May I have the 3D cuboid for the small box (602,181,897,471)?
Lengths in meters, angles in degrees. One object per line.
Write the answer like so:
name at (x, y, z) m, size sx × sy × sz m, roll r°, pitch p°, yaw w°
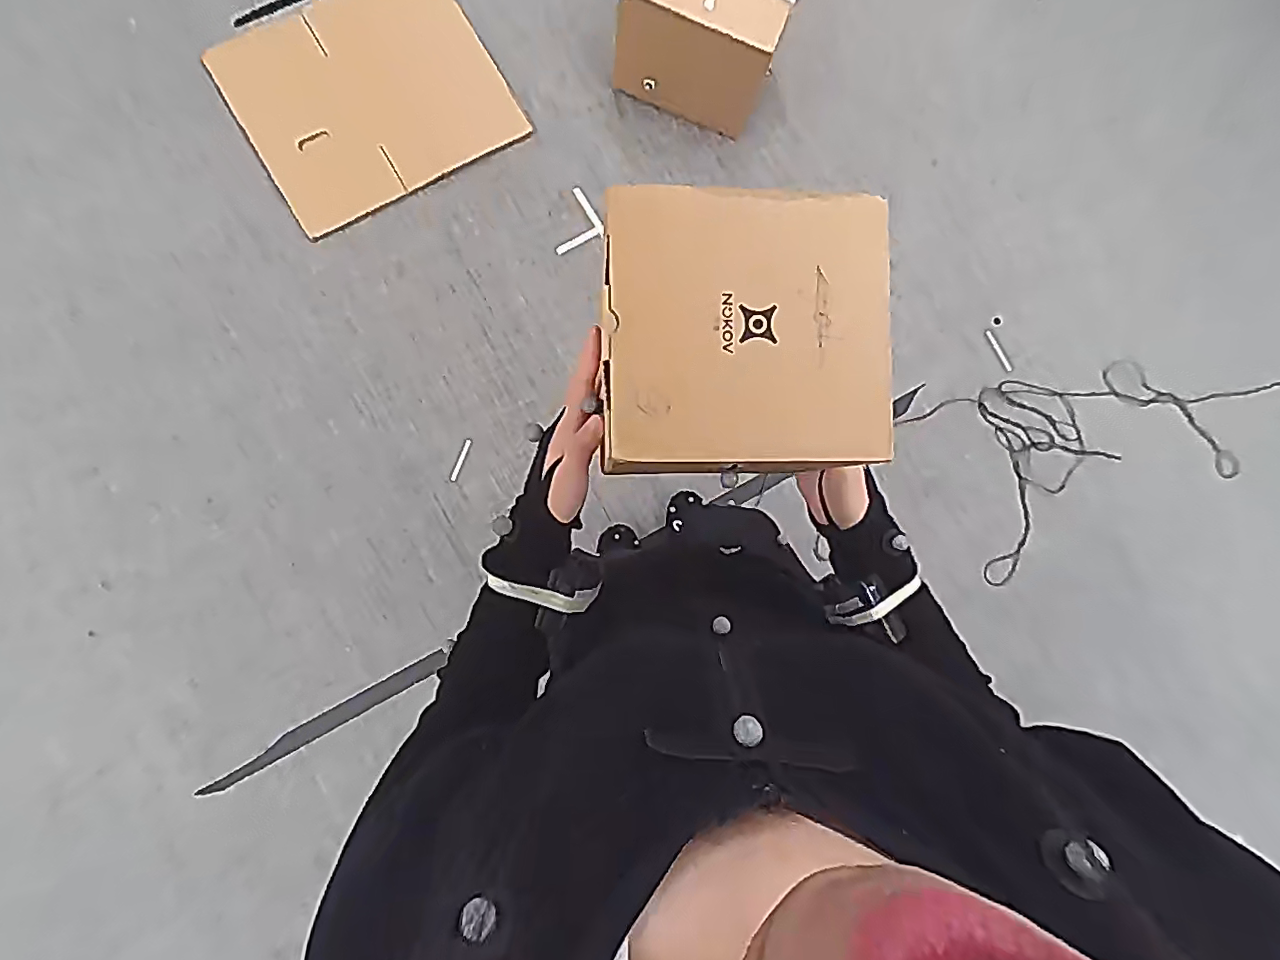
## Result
small box at (0.061, -0.092, 0.400) m, size 0.179 × 0.176 × 0.168 m, roll -1°, pitch 89°, yaw -5°
